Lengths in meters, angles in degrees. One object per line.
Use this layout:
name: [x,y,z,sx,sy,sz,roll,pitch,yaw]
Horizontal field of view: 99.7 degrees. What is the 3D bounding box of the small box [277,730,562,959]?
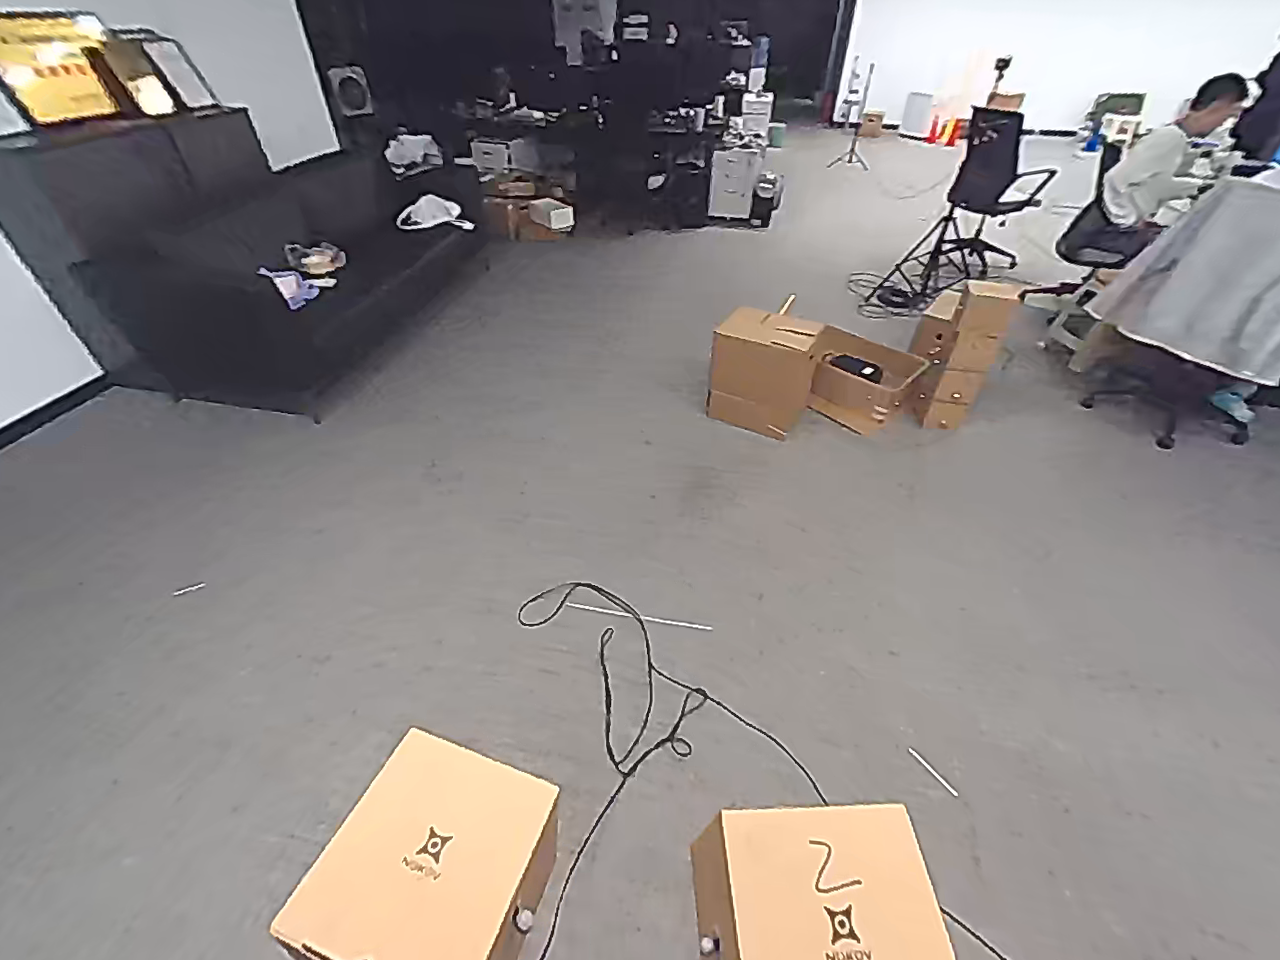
small box: [-0.187,0.382,0.509,0.168,0.176,0.179,16,38,10]
